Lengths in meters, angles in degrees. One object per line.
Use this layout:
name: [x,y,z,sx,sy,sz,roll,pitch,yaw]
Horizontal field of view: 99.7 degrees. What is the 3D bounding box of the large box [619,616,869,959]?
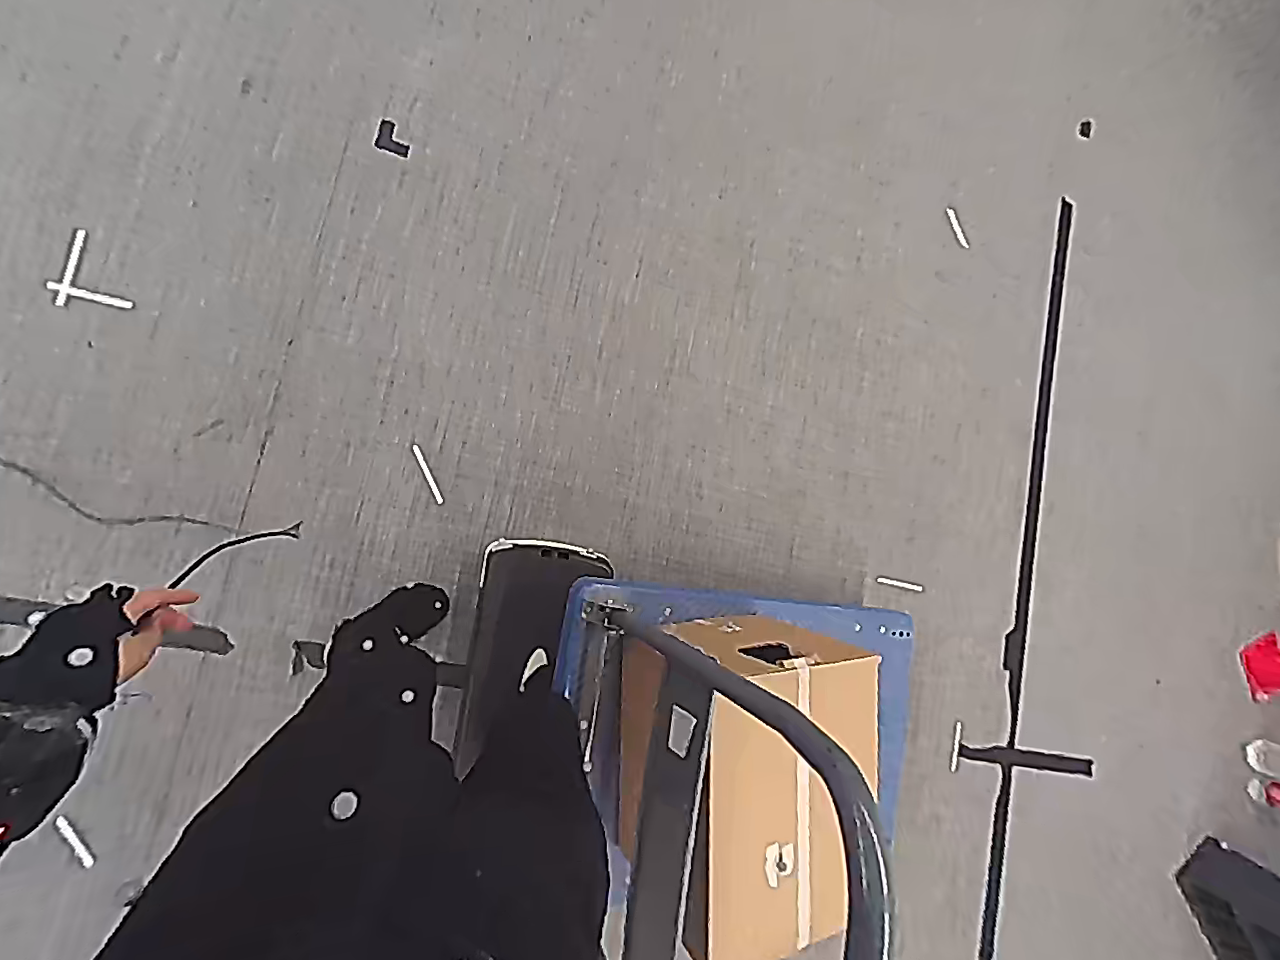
large box: [0.162,0.476,0.925,0.320,0.320,0.408,2,89,-25]
